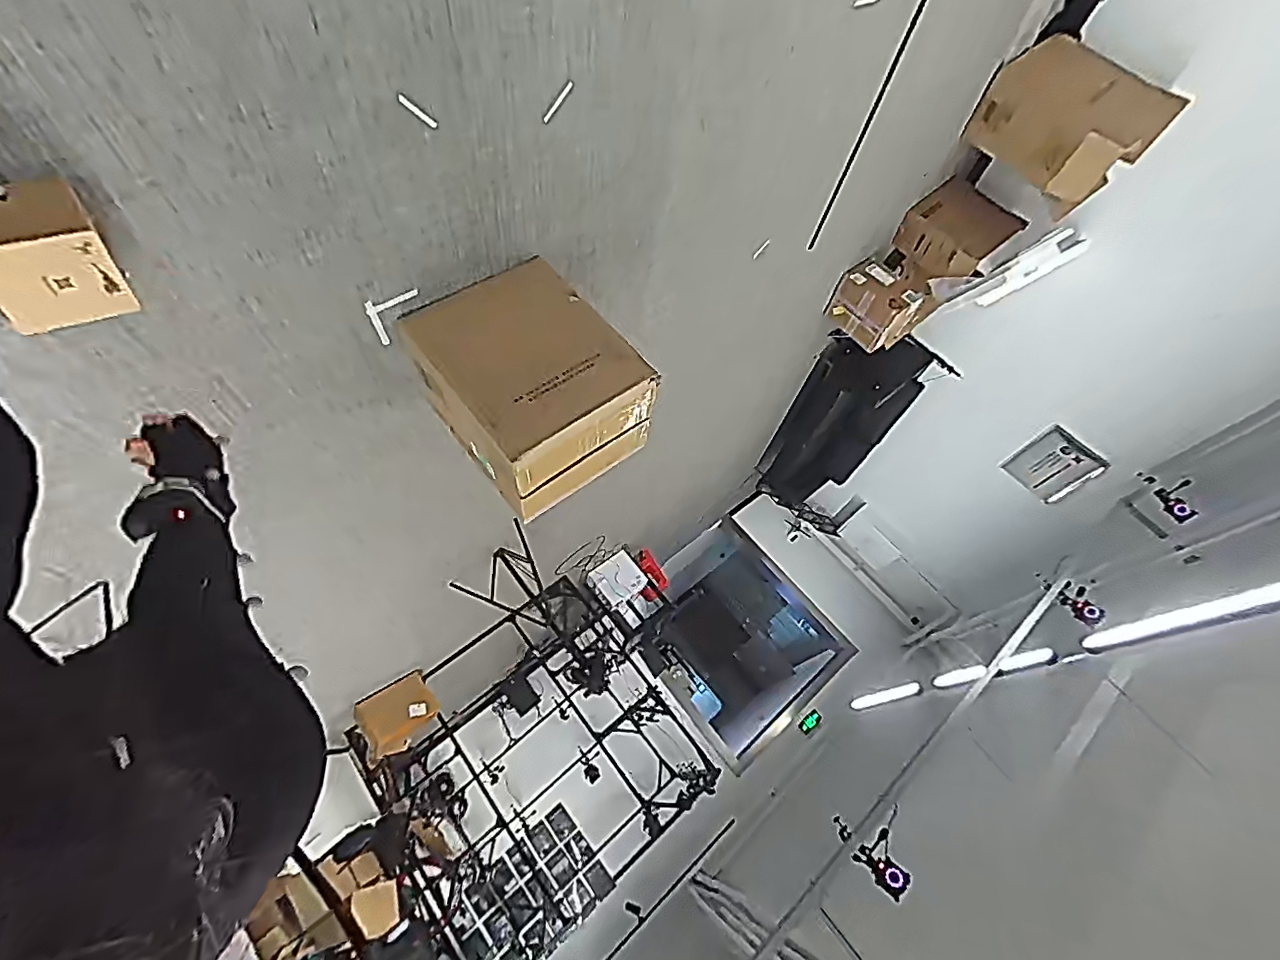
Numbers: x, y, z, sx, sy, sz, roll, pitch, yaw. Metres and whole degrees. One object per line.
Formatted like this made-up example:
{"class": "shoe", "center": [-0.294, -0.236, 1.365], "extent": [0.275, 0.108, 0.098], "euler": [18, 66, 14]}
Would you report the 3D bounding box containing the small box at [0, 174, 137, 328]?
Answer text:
{"class": "small box", "center": [-1.034, -0.397, 0.931], "extent": [0.179, 0.176, 0.168], "euler": [-29, 159, -32]}
